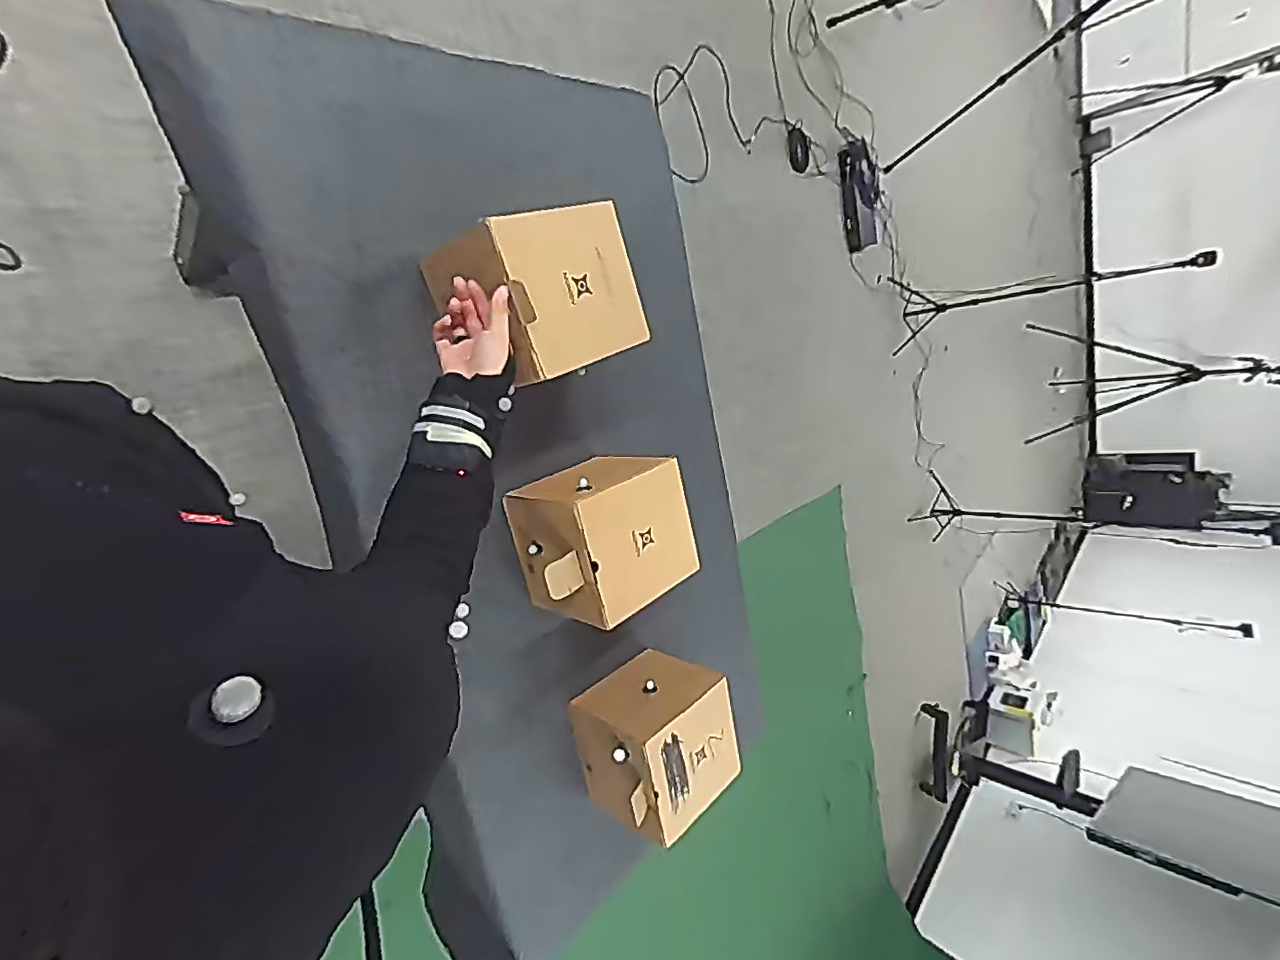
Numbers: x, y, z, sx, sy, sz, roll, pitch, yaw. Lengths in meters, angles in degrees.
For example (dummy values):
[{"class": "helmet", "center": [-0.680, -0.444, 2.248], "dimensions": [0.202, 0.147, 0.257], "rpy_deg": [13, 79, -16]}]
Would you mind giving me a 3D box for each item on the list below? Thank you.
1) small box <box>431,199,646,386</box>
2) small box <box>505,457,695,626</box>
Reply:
[{"class": "small box", "center": [-0.127, -0.220, 0.655], "dimensions": [0.179, 0.176, 0.168], "rpy_deg": [-34, 116, -39]}, {"class": "small box", "center": [-0.054, 0.069, 0.739], "dimensions": [0.179, 0.176, 0.168], "rpy_deg": [-25, 109, -39]}]
